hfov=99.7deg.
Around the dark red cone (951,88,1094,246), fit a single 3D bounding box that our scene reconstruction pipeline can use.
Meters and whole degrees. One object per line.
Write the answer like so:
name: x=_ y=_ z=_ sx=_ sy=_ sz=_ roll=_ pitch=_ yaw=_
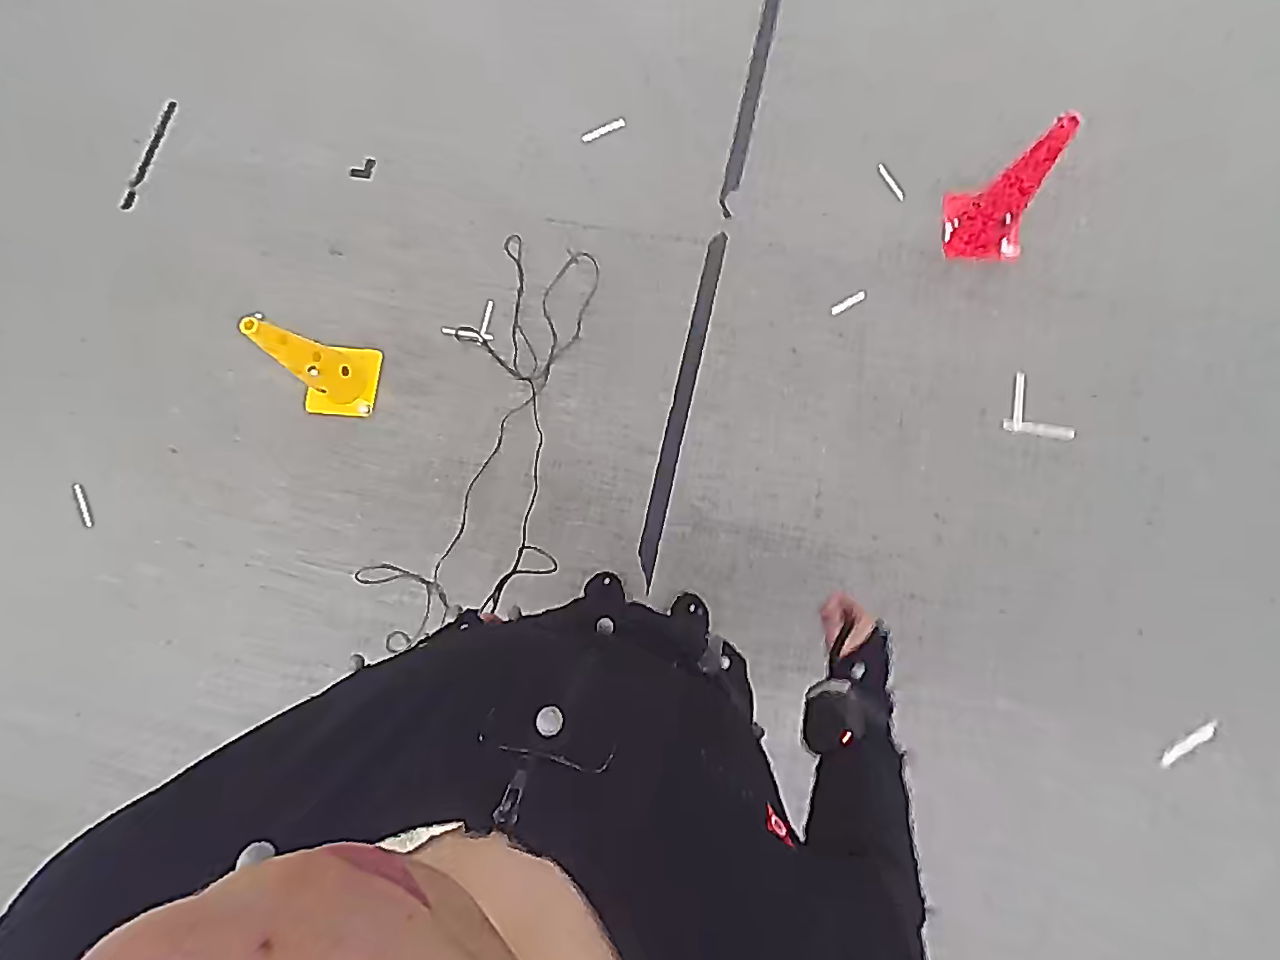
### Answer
dark red cone: x=0.924 y=-0.751 z=1.288 sx=0.201 sy=0.394 sz=0.202 roll=4 pitch=80 yaw=6
